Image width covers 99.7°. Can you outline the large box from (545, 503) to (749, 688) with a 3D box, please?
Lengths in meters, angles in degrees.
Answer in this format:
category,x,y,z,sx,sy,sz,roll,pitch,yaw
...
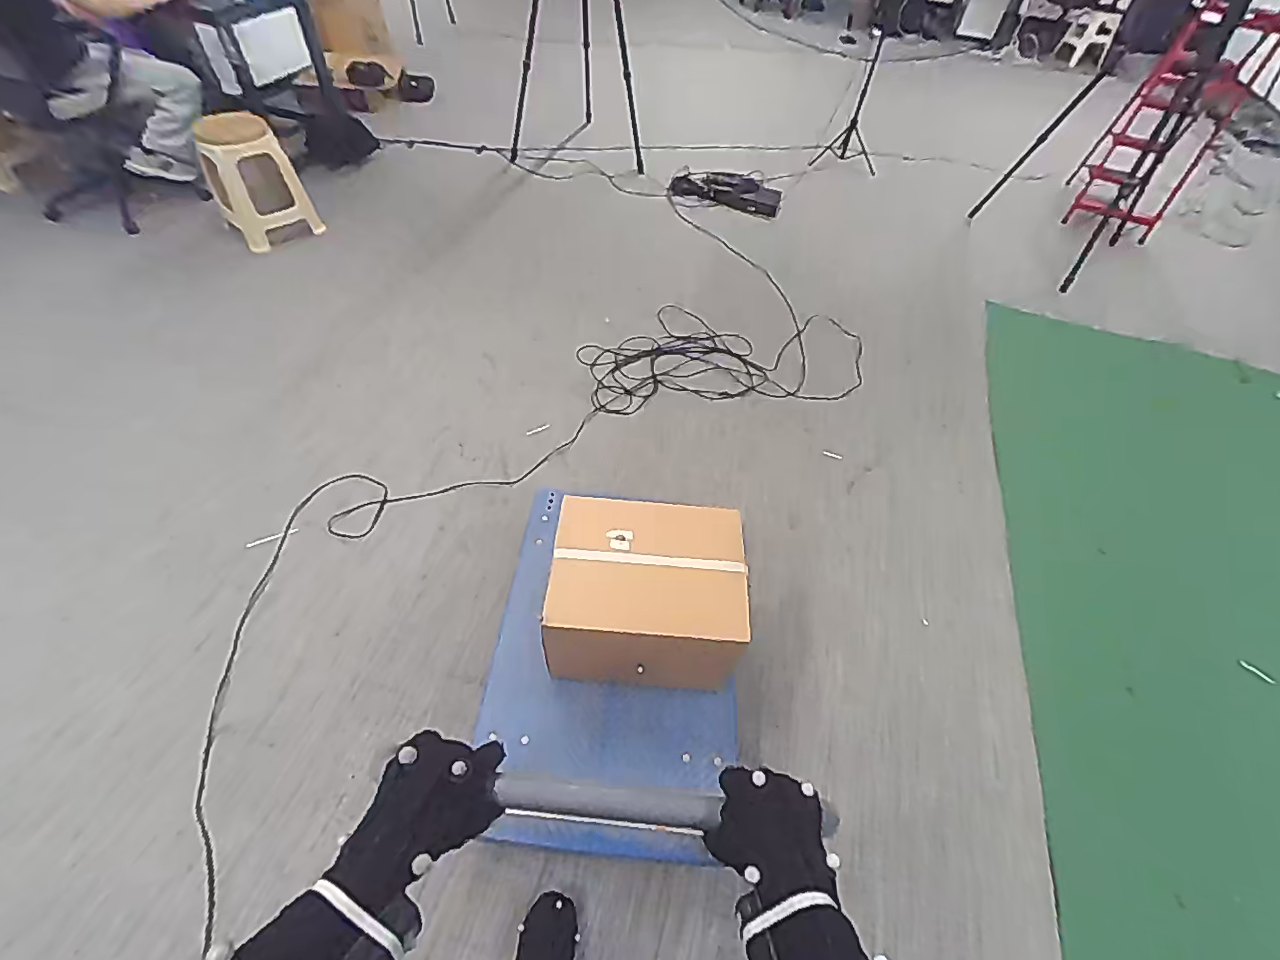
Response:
category,x,y,z,sx,sy,sz,roll,pitch,yaw
large box,0.015,0.274,1.254,0.408,0.320,0.320,4,51,0
